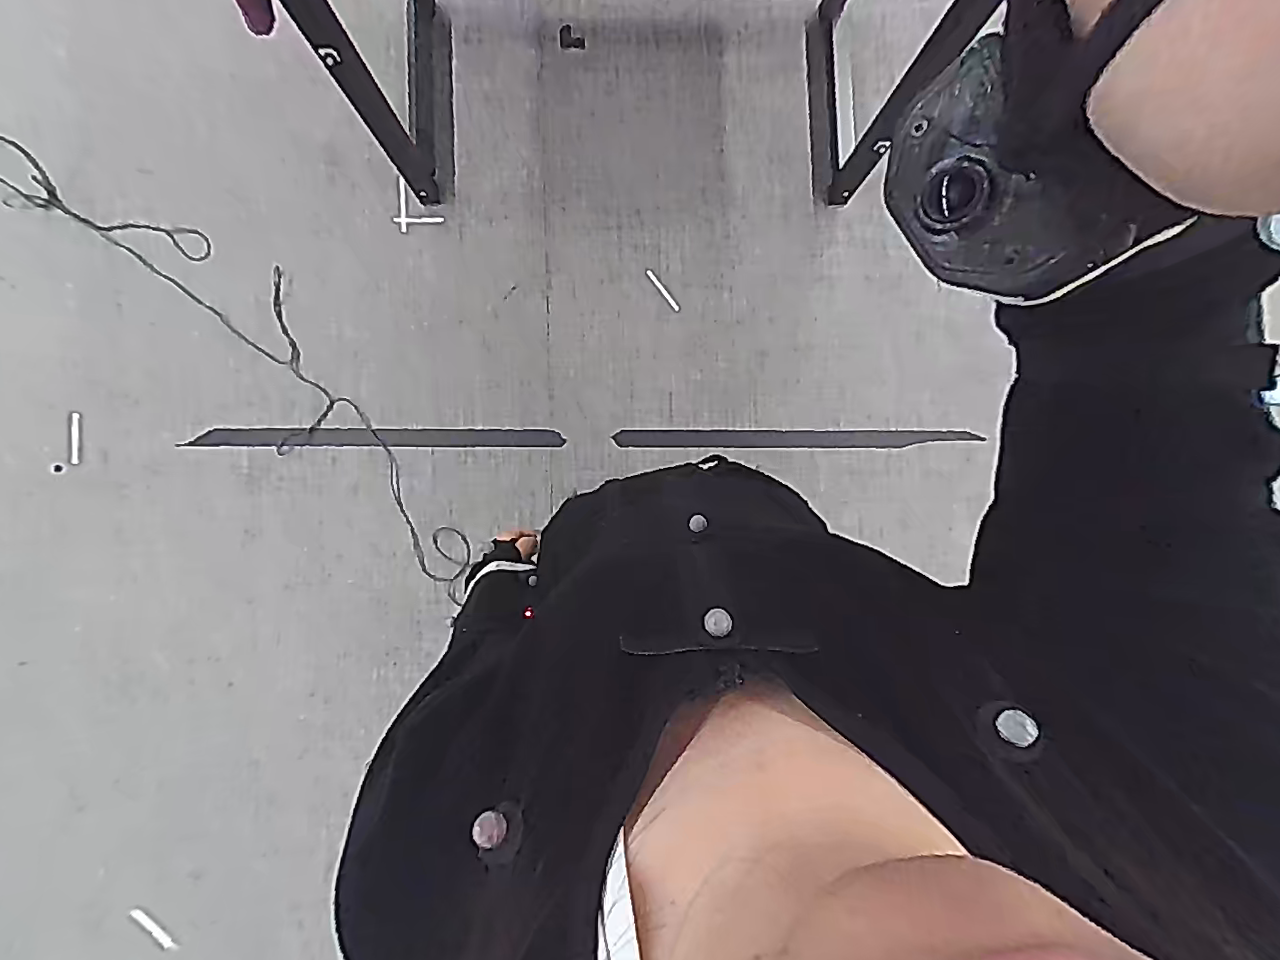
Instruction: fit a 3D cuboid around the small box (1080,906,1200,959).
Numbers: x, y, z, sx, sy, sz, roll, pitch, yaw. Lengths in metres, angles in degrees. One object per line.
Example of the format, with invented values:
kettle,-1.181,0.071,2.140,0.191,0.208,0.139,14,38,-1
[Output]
small box,1.198,1.173,1.291,0.168,0.176,0.179,3,89,-3
